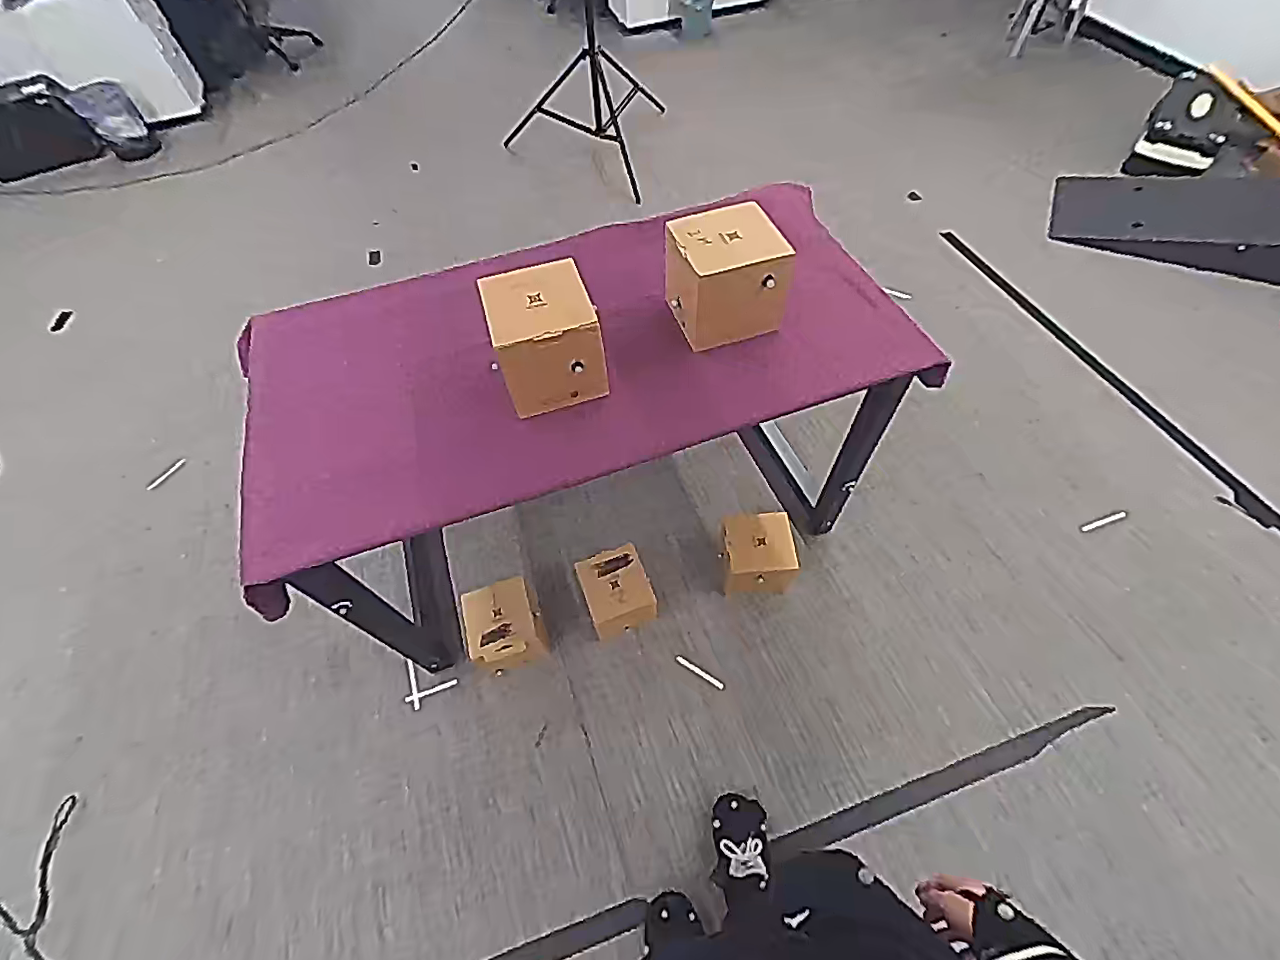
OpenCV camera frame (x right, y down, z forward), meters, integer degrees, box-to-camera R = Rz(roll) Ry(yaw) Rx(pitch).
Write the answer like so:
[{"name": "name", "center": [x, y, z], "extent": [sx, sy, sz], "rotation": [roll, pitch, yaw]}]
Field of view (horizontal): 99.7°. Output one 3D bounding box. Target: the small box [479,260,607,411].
[{"name": "small box", "center": [-0.159, -0.237, 0.925], "extent": [0.168, 0.176, 0.179], "rotation": [-17, 57, -9]}]

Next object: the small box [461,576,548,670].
[{"name": "small box", "center": [-0.347, 0.380, 1.407], "extent": [0.168, 0.176, 0.179], "rotation": [-17, 58, -8]}]

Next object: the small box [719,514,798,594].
[{"name": "small box", "center": [0.318, 0.206, 1.485], "extent": [0.179, 0.176, 0.168], "rotation": [-4, 59, 2]}]

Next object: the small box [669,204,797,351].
[{"name": "small box", "center": [0.158, -0.366, 0.988], "extent": [0.179, 0.176, 0.168], "rotation": [-17, 58, -7]}]
